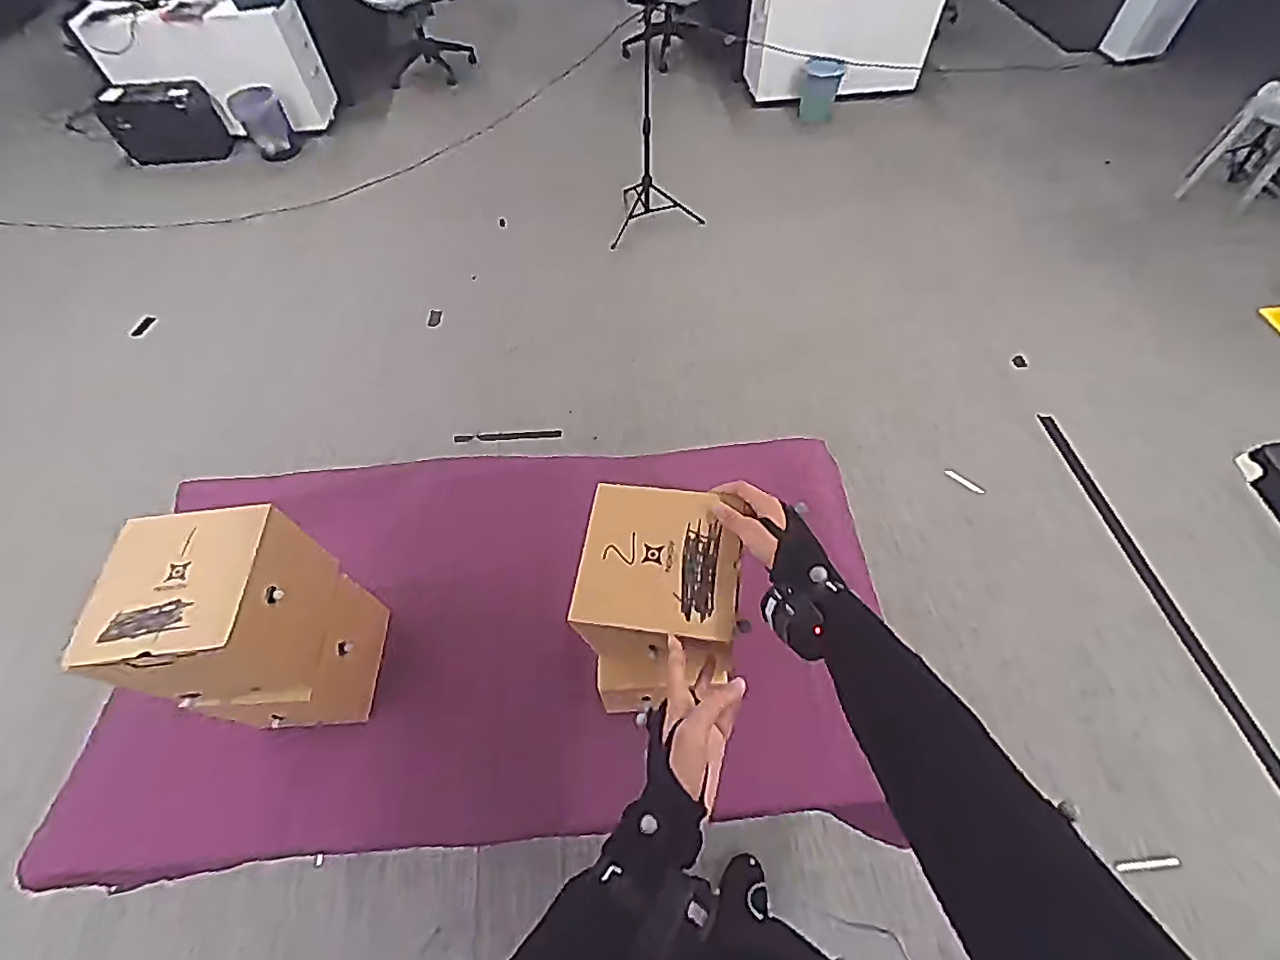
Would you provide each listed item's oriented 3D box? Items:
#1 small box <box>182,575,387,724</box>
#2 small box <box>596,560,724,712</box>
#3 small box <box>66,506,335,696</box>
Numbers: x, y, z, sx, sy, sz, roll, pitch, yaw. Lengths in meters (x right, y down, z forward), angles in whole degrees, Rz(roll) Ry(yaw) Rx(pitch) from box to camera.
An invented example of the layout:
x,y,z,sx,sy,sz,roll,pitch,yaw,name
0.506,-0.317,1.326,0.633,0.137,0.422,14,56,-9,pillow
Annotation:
x,y,z,sx,sy,sz,roll,pitch,yaw,name
-0.494,0.252,0.787,0.168,0.176,0.179,-2,57,-1,small box
0.026,0.234,0.791,0.168,0.176,0.179,-3,56,0,small box
-0.502,0.154,0.655,0.168,0.176,0.179,-6,56,-3,small box
